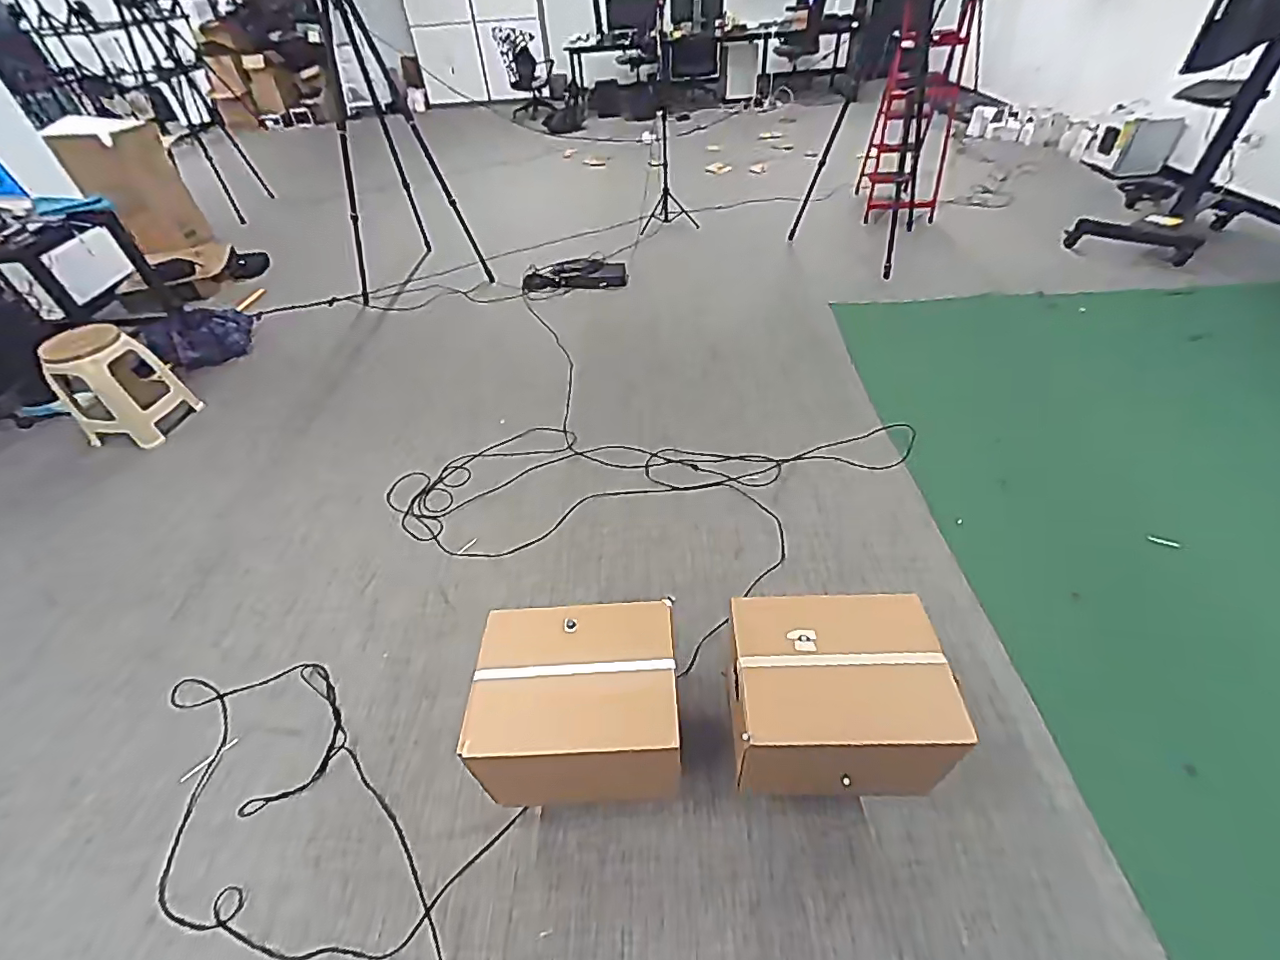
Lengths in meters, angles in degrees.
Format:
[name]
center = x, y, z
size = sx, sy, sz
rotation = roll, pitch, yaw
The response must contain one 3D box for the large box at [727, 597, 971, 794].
[large box]
center = 0.411, 0.477, 1.187
size = 0.408, 0.320, 0.320
rotation = -2, 44, 4
